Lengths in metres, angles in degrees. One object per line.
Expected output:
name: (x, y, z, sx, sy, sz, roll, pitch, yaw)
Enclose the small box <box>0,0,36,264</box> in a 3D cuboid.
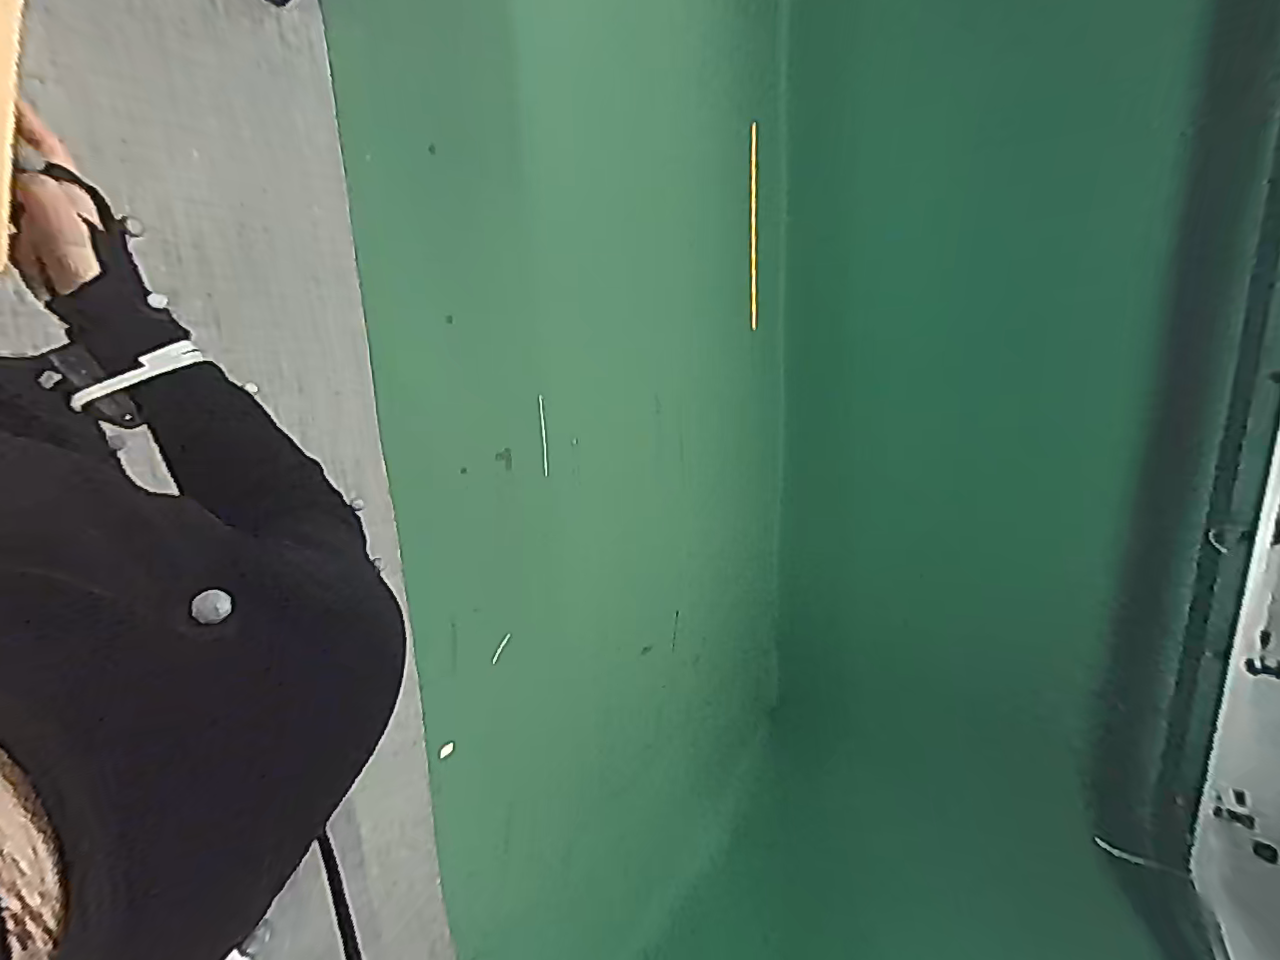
small box: (-0.444, -0.217, 0.263, 0.168, 0.176, 0.179, 3, 95, -60)
